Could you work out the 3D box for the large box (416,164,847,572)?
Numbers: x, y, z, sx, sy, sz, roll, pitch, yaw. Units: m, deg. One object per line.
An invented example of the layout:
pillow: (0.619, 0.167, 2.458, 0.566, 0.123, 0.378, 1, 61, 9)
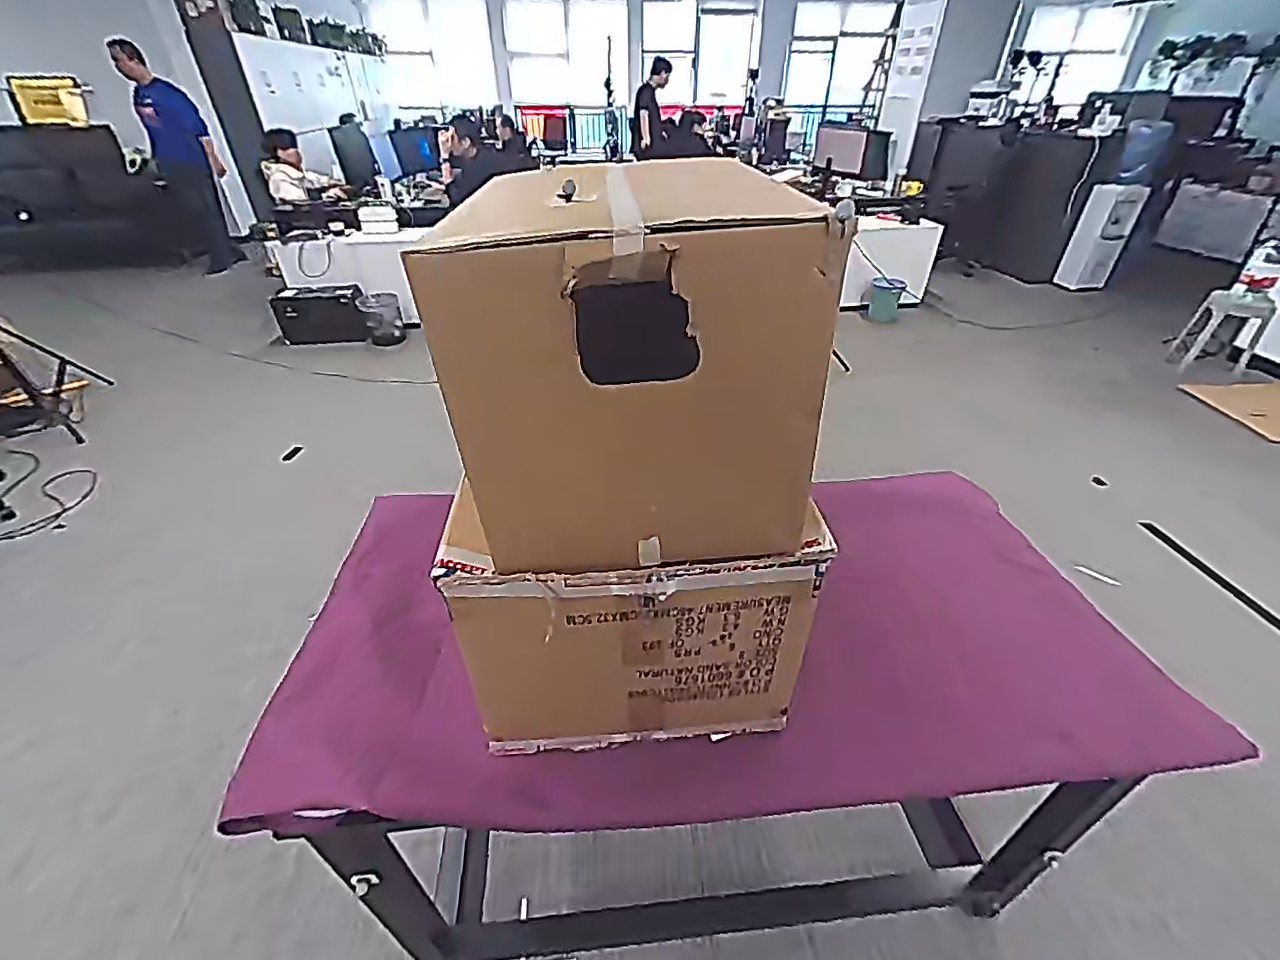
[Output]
large box: (-0.014, -0.155, 0.620, 0.320, 0.320, 0.408, -6, 36, -1)
